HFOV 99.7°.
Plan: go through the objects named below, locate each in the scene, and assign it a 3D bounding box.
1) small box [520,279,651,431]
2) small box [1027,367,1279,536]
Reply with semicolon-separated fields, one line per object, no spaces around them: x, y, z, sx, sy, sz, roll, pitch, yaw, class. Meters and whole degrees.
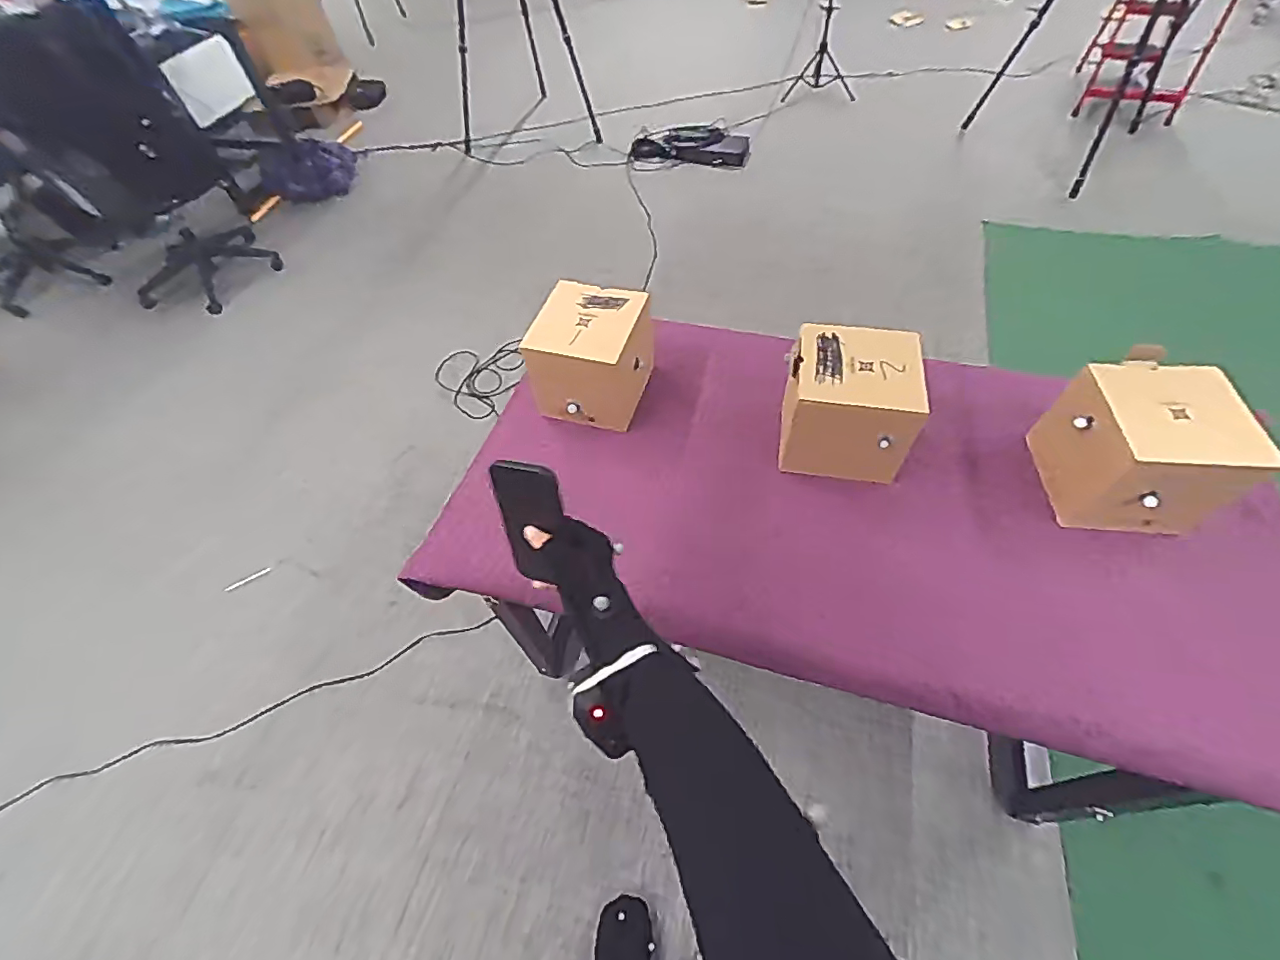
-0.083;-0.214;0.936;0.168;0.176;0.179;13;58;13;small box
0.692;-0.037;0.760;0.168;0.176;0.179;3;54;7;small box
